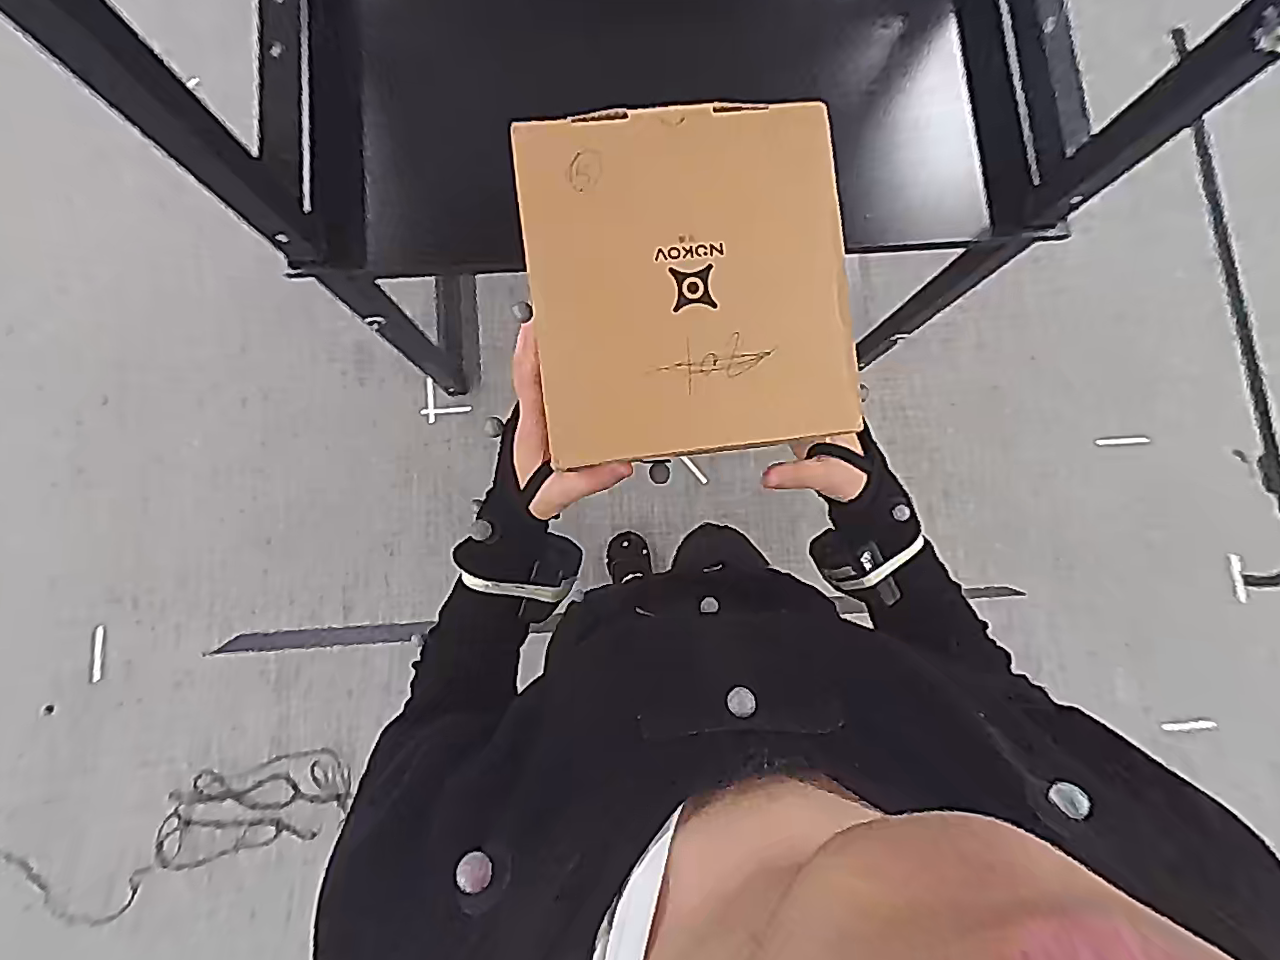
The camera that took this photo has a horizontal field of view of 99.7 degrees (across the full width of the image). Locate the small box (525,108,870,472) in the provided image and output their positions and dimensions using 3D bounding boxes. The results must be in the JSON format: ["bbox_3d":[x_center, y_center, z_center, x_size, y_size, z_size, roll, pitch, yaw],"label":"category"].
[{"bbox_3d":[0.024,-0.100,0.356,0.168,0.176,0.179,-7,92,-4],"label":"small box"}]
